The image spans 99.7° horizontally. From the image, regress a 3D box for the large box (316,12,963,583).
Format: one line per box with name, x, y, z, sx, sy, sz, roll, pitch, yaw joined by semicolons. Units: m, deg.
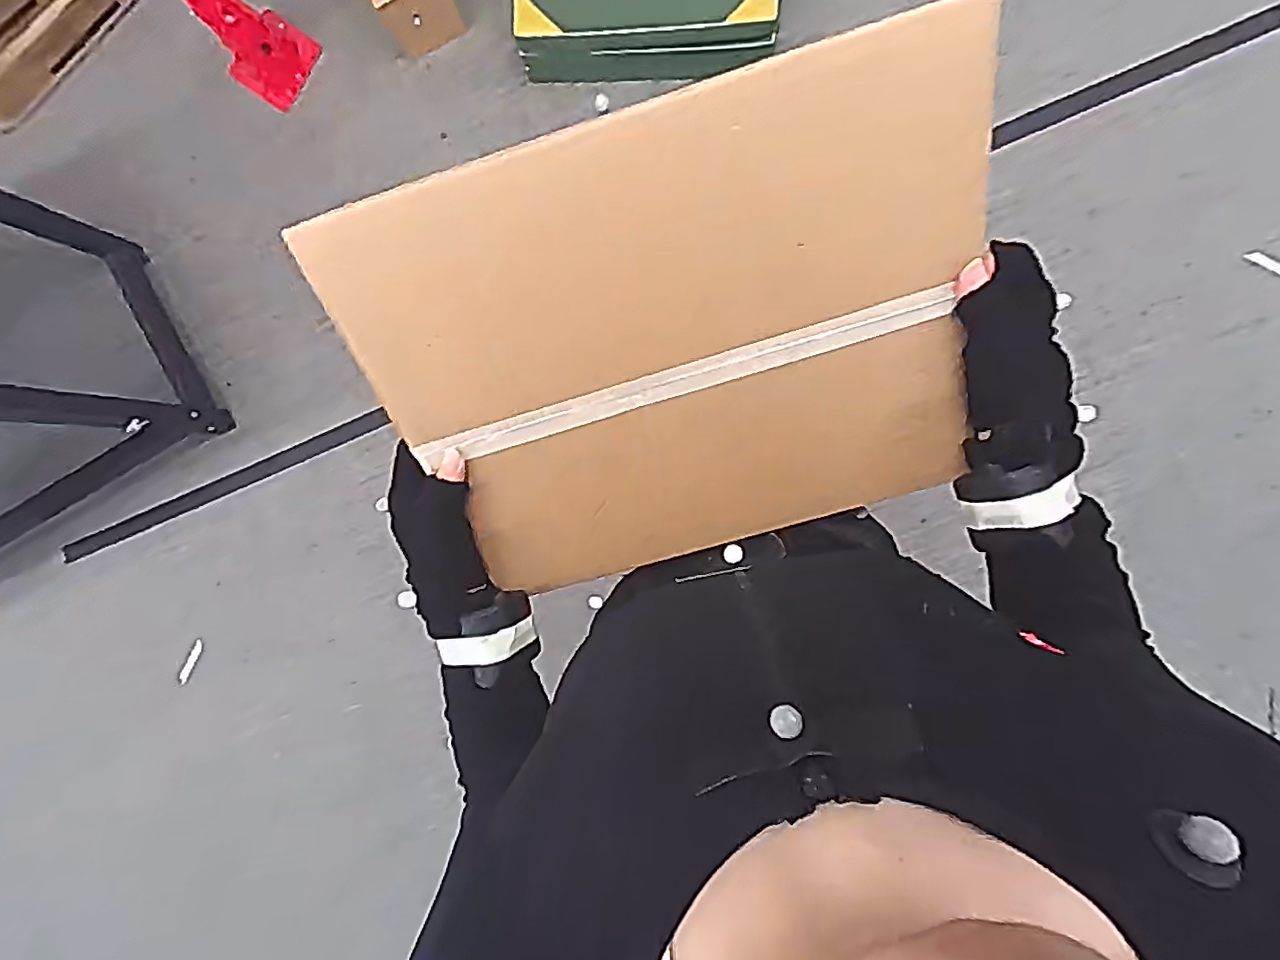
large box;0.019;-0.162;0.516;0.408;0.320;0.320;-16;123;5
